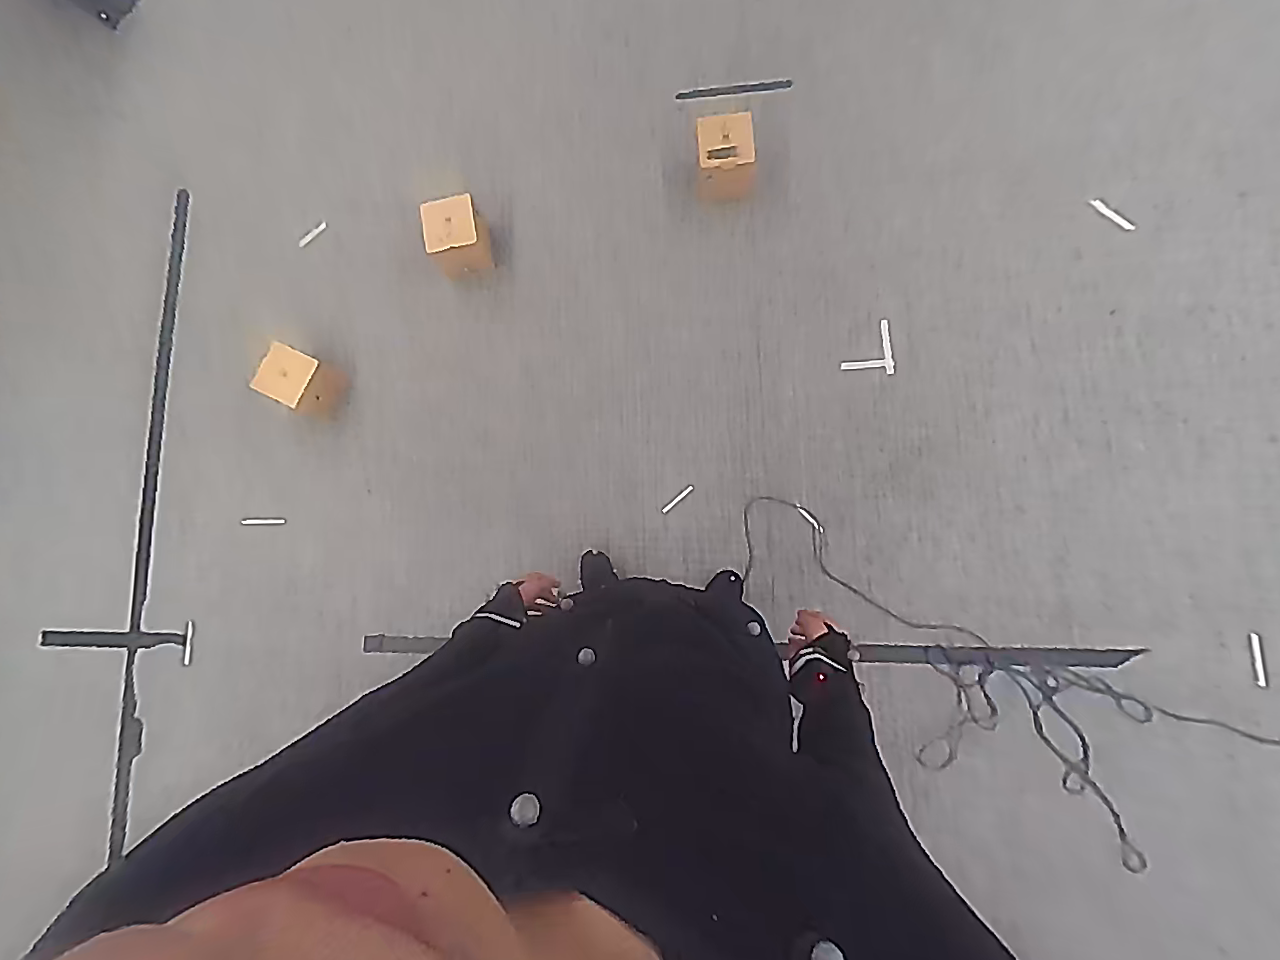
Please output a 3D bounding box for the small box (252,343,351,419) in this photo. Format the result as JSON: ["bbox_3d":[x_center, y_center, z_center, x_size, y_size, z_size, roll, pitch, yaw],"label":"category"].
[{"bbox_3d":[-1.077,-0.310,1.738,0.179,0.176,0.168,24,85,8],"label":"small box"}]

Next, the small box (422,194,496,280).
[{"bbox_3d":[-0.583,-0.784,1.756,0.168,0.176,0.179,-11,82,3],"label":"small box"}]
